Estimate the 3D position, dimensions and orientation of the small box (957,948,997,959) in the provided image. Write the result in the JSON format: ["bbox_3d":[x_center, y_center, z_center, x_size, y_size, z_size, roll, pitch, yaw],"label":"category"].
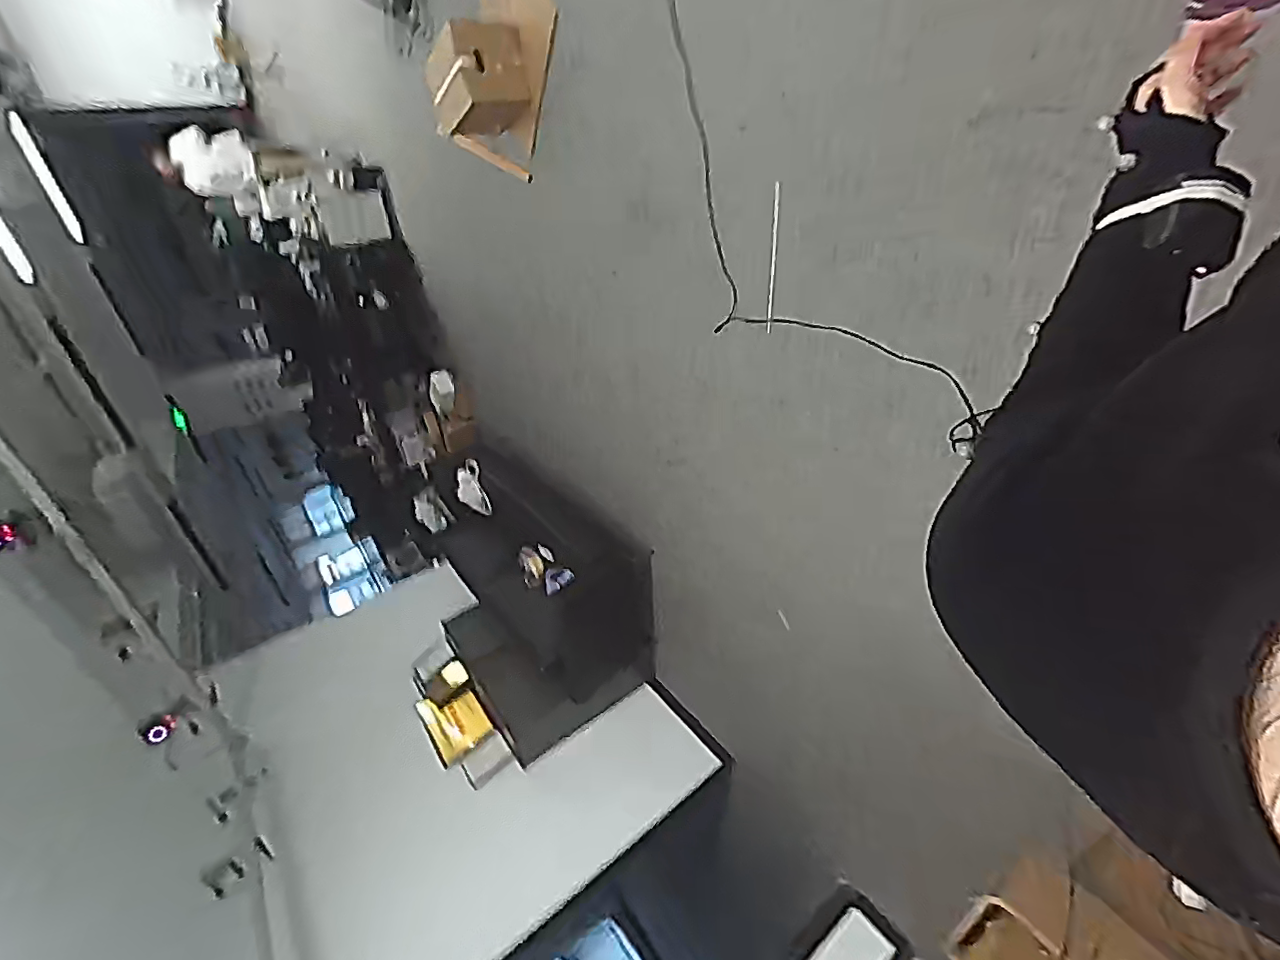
[{"bbox_3d":[0.780,1.216,1.223,0.168,0.176,0.179,43,144,39],"label":"small box"}]
